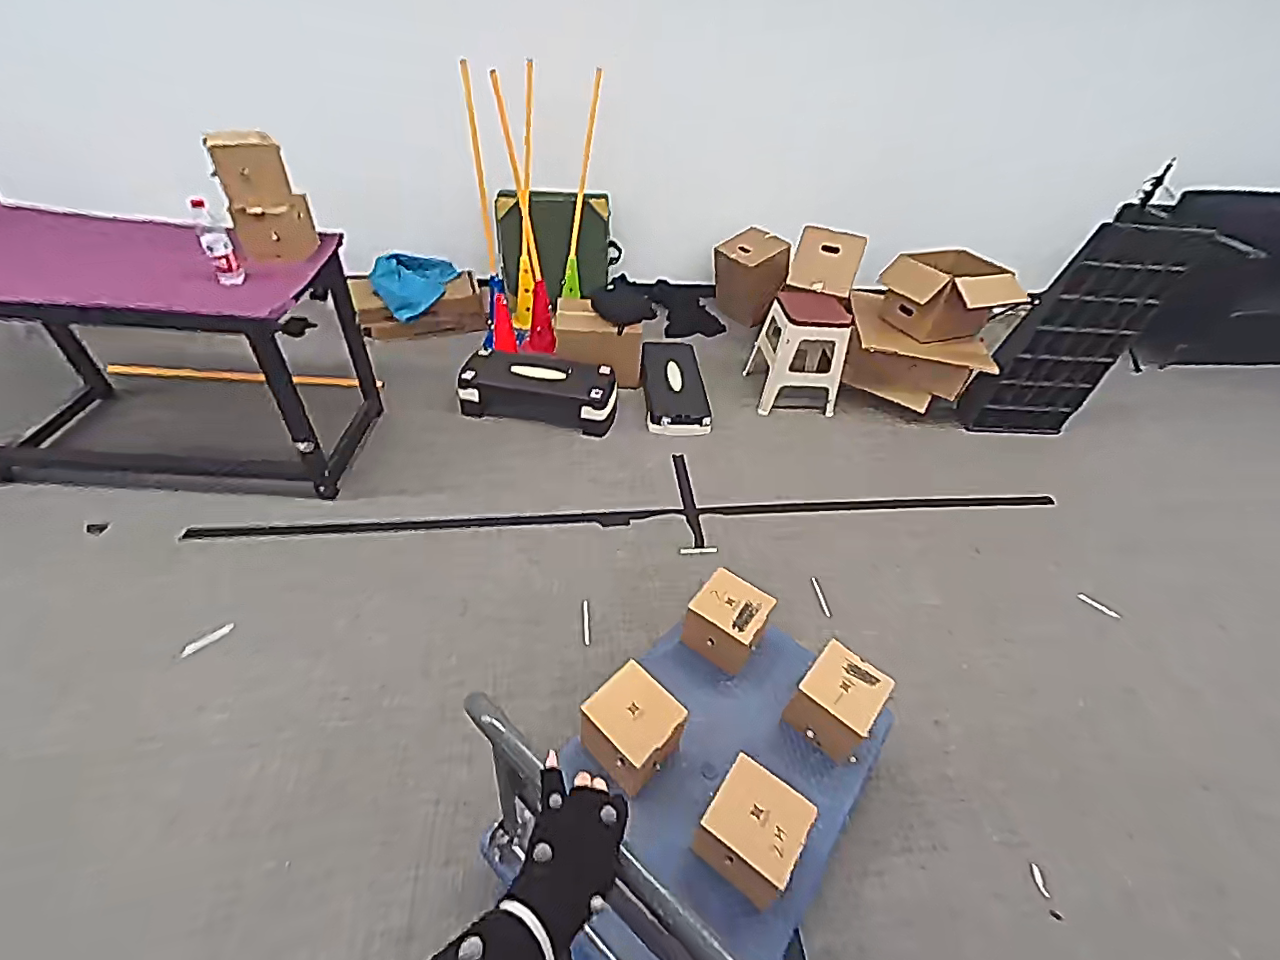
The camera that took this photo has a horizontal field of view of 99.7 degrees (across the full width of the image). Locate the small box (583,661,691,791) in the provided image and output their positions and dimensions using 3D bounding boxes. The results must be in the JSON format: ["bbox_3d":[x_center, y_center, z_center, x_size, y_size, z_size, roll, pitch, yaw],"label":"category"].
[{"bbox_3d":[-0.015,0.553,1.211,0.179,0.176,0.168,37,50,26],"label":"small box"}]

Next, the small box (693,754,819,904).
[{"bbox_3d":[0.224,0.701,1.082,0.179,0.176,0.168,30,48,23],"label":"small box"}]

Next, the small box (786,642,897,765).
[{"bbox_3d":[0.473,0.534,1.292,0.168,0.176,0.179,34,51,27],"label":"small box"}]
